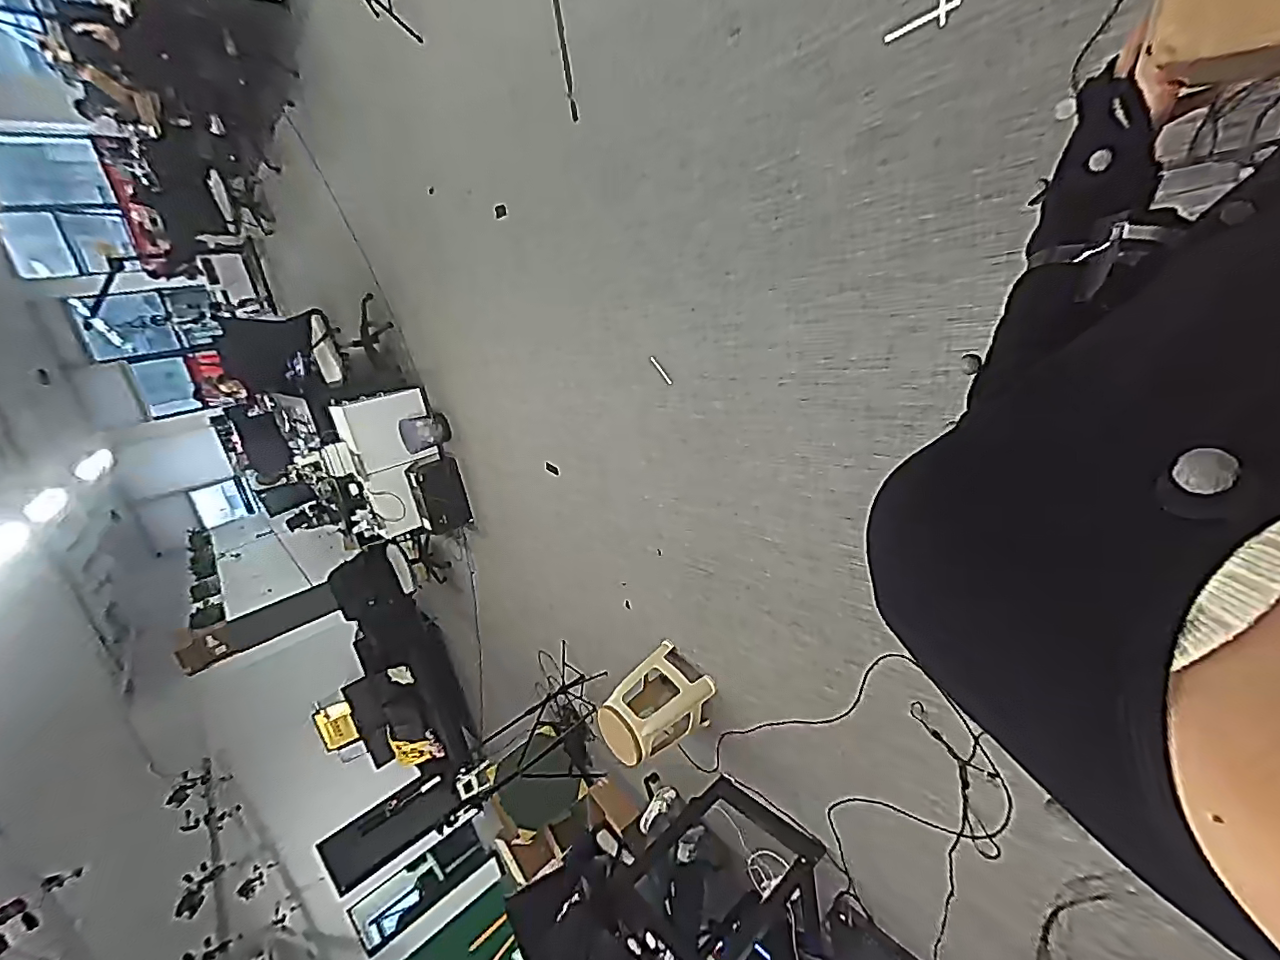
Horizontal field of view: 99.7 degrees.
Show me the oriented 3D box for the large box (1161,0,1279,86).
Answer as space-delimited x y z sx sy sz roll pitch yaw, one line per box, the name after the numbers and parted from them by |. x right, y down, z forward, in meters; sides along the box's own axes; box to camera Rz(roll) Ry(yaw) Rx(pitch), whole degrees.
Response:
0.428 -0.324 0.117 0.408 0.320 0.320 17 127 39 | large box
